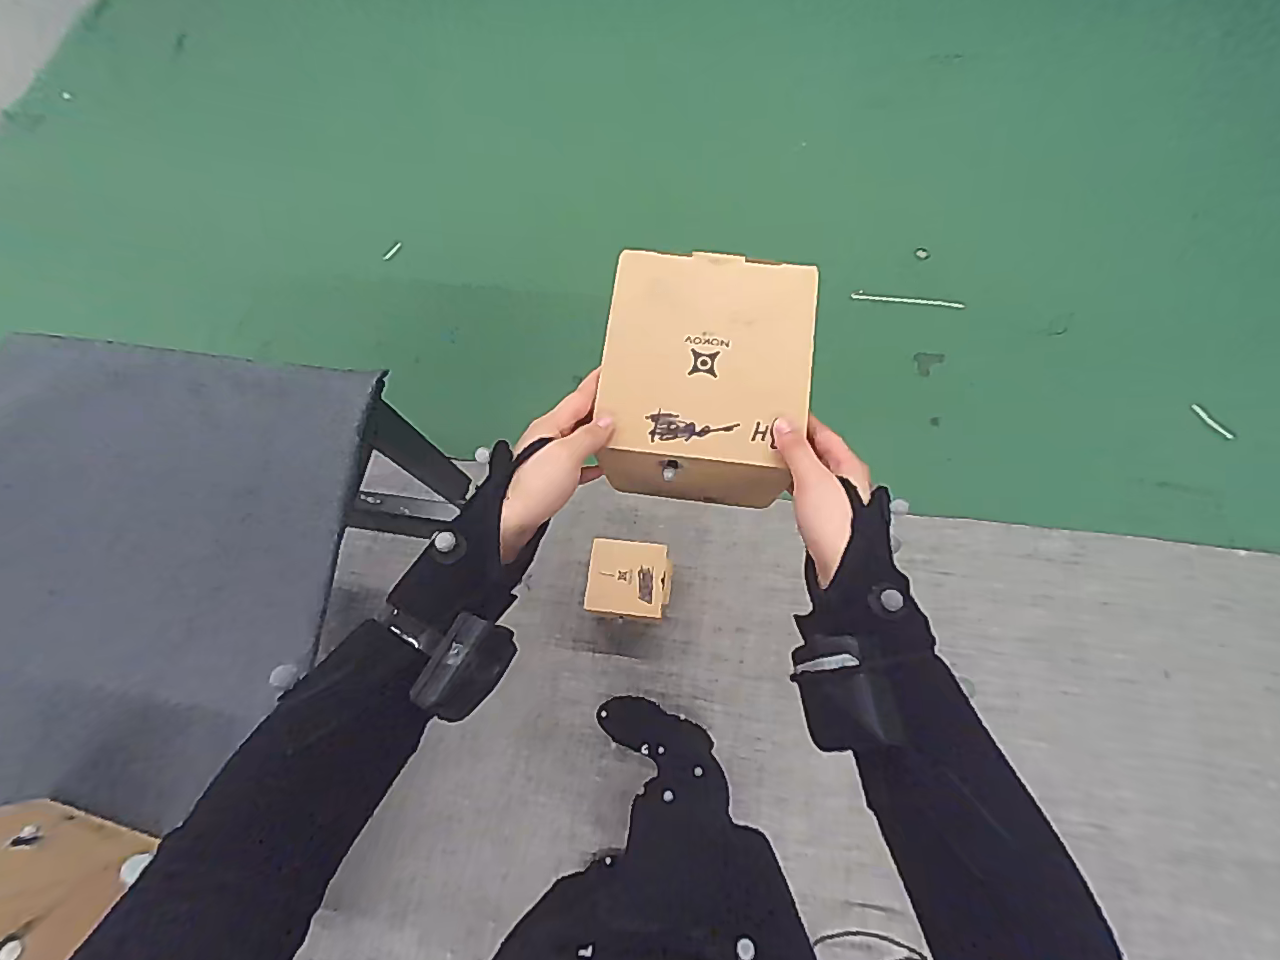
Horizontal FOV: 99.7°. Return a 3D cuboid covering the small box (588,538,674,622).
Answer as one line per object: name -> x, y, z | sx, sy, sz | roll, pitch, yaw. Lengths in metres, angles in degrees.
small box -> -0.013, 0.243, 1.285 | 0.179, 0.176, 0.168 | 6, 71, 7

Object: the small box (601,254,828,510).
small box -> 0.065, -0.079, 0.507 | 0.168, 0.176, 0.179 | 7, 78, 5
